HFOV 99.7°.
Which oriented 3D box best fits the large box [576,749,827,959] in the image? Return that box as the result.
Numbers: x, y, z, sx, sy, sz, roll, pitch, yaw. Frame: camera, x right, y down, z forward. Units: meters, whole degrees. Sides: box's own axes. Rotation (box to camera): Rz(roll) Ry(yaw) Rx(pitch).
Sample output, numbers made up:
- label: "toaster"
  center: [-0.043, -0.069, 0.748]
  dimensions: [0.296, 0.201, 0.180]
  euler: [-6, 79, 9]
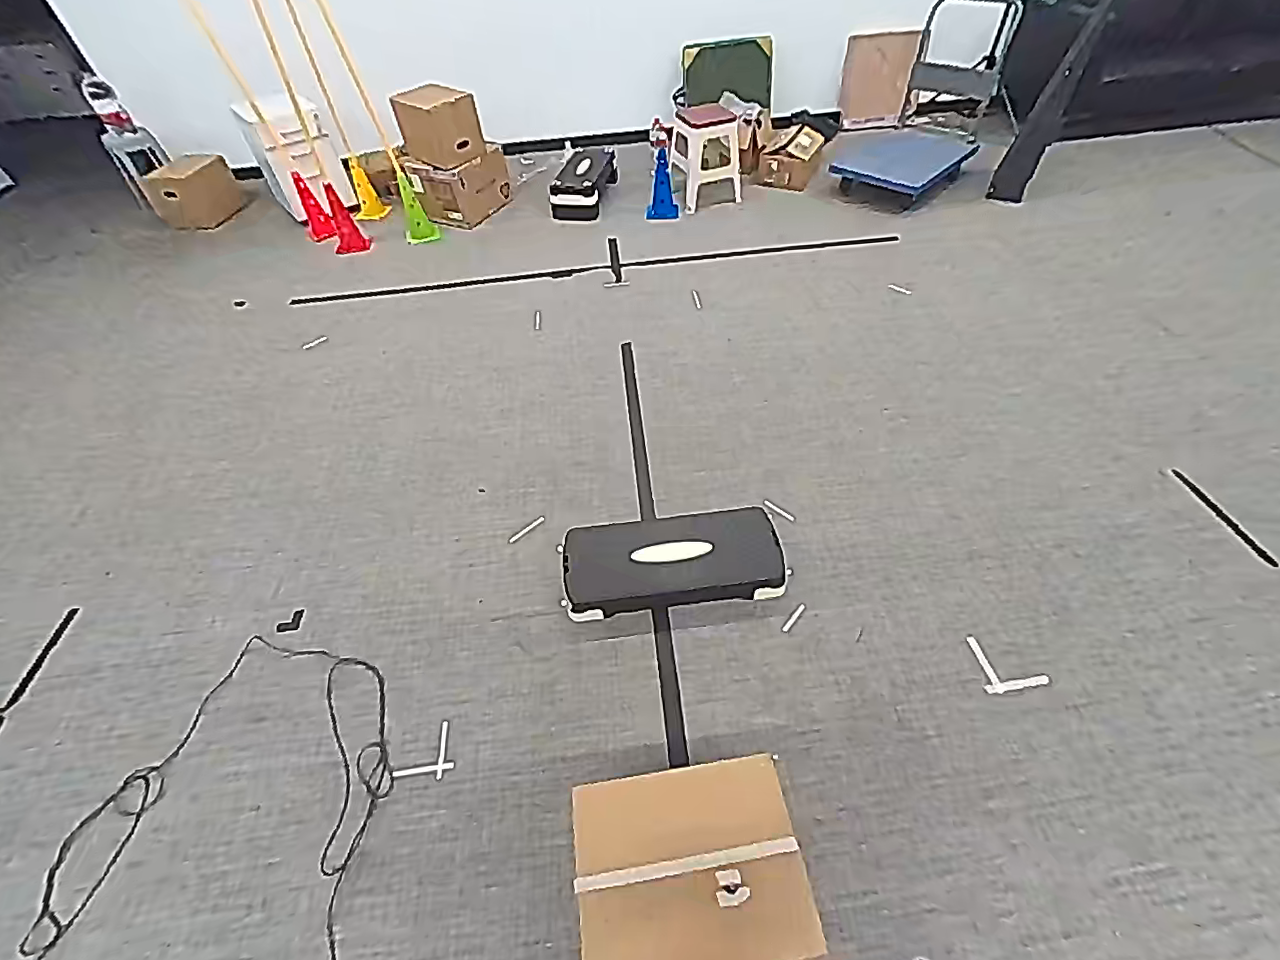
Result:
- label: "large box"
  center: [0.098, 0.787, 1.089]
  dimensions: [0.408, 0.320, 0.320]
  euler: [-8, 49, -4]
